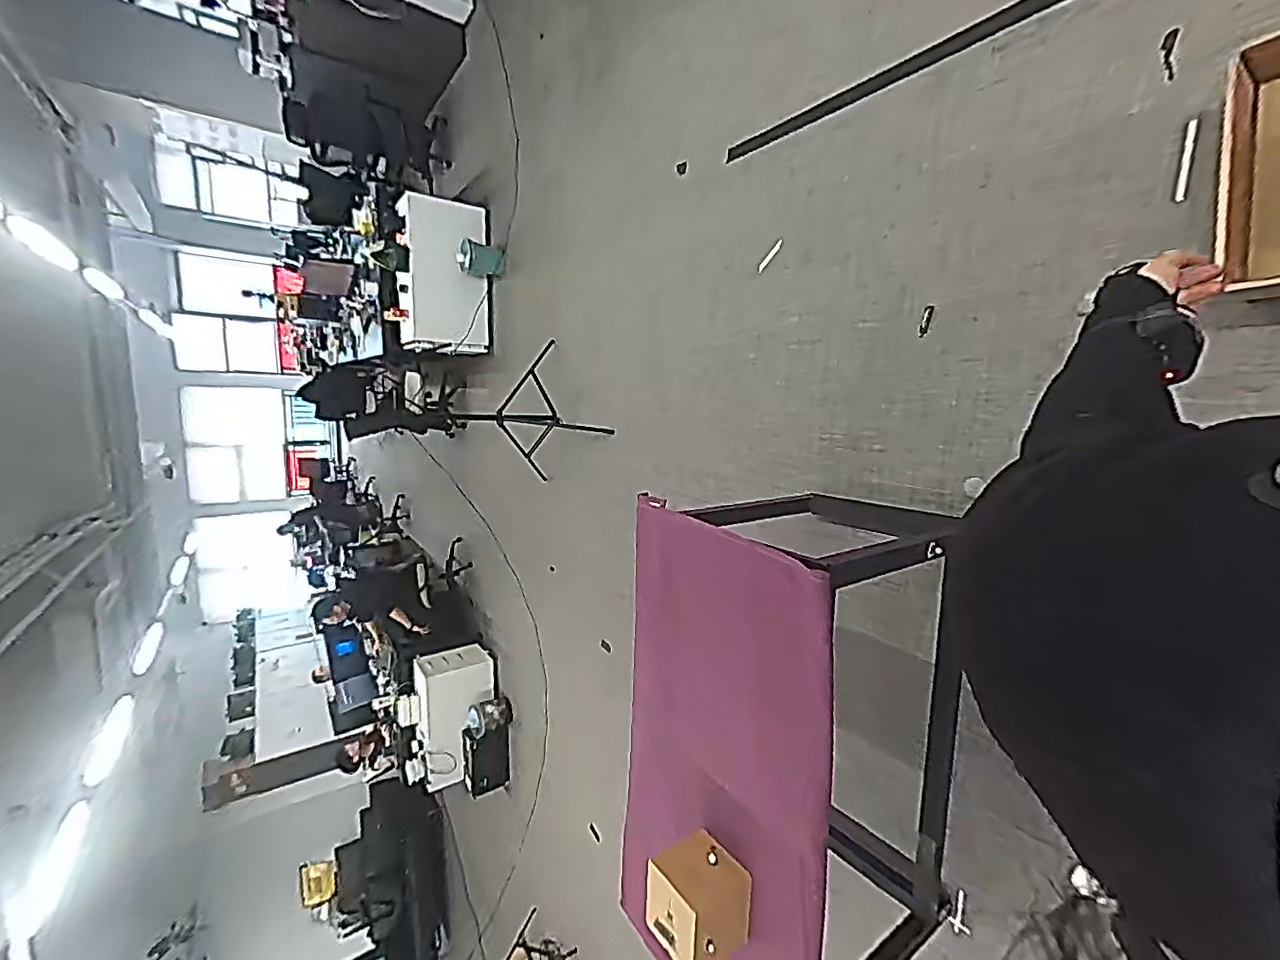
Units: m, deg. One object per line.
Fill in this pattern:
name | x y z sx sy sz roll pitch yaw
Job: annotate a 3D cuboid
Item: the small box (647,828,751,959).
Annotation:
small box | 0.133 0.946 1.225 0.168 0.176 0.179 14 104 54
